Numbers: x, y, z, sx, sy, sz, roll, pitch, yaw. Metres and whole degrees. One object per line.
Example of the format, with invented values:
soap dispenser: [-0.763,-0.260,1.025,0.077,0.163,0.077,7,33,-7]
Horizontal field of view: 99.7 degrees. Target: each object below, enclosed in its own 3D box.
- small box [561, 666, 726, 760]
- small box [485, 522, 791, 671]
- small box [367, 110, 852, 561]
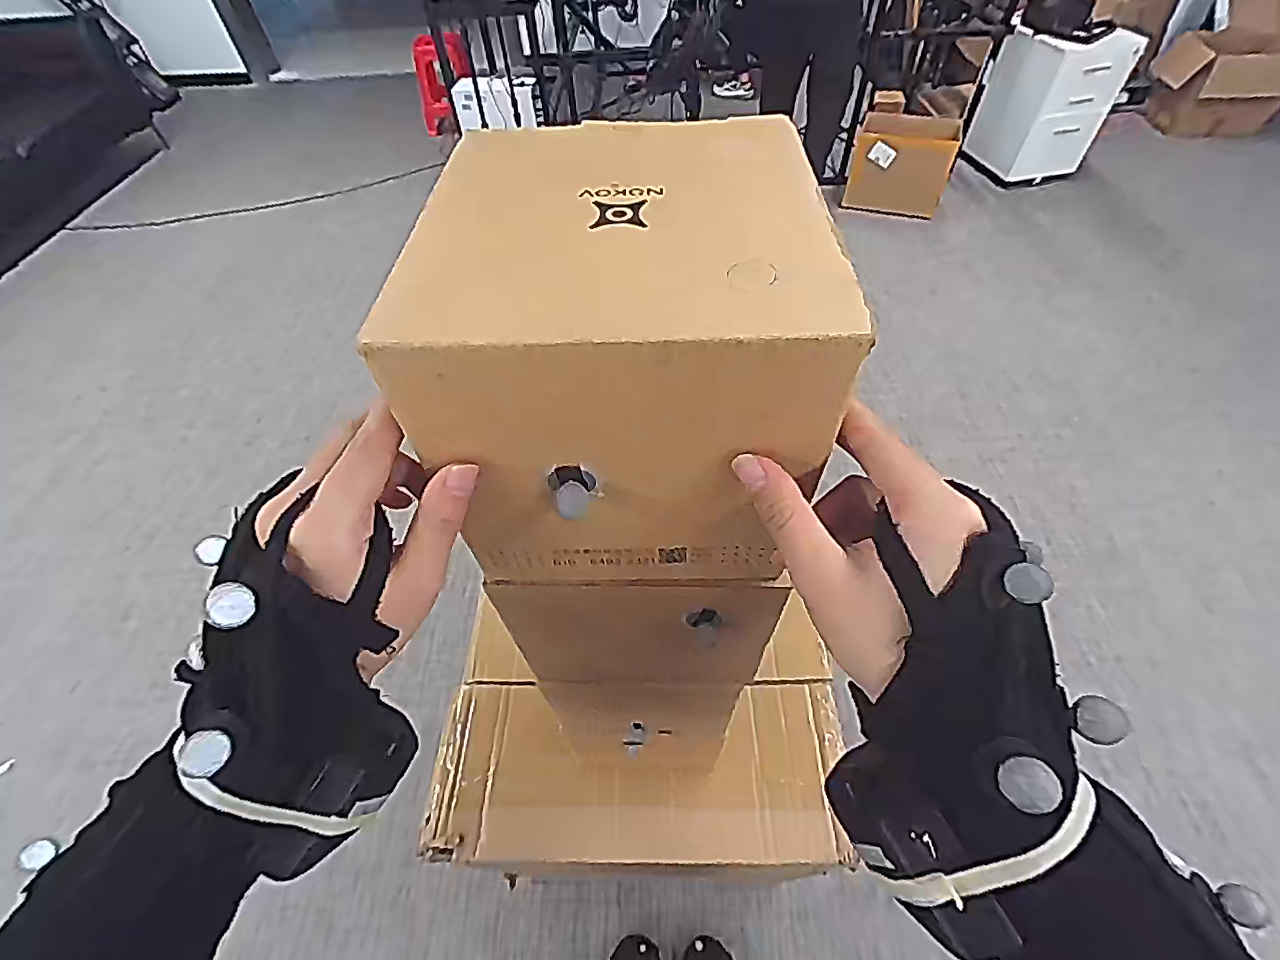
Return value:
small box: [0.010,0.241,0.673,0.179,0.176,0.168,0,52,3]
small box: [0.003,0.037,0.414,0.179,0.176,0.168,0,52,3]
small box: [-0.007,-0.066,0.290,0.168,0.176,0.179,-2,52,2]
